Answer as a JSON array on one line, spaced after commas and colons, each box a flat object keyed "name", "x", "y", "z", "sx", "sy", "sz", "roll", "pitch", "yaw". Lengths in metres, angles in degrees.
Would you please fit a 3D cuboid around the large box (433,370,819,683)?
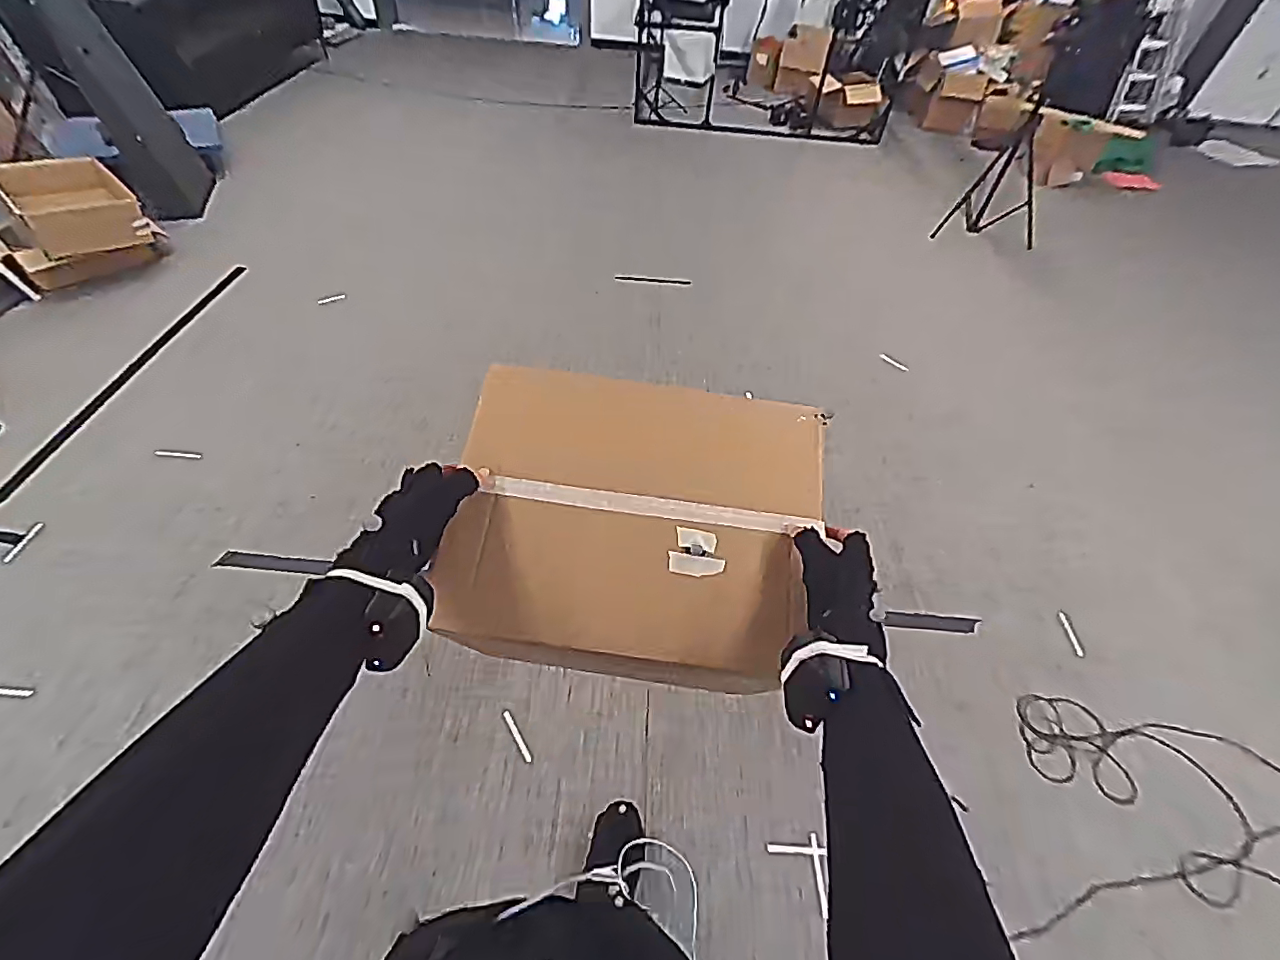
[{"name": "large box", "x": -0.008, "y": 0.085, "z": 0.741, "sx": 0.408, "sy": 0.320, "sz": 0.320, "roll": 8, "pitch": 67, "yaw": 0}]
